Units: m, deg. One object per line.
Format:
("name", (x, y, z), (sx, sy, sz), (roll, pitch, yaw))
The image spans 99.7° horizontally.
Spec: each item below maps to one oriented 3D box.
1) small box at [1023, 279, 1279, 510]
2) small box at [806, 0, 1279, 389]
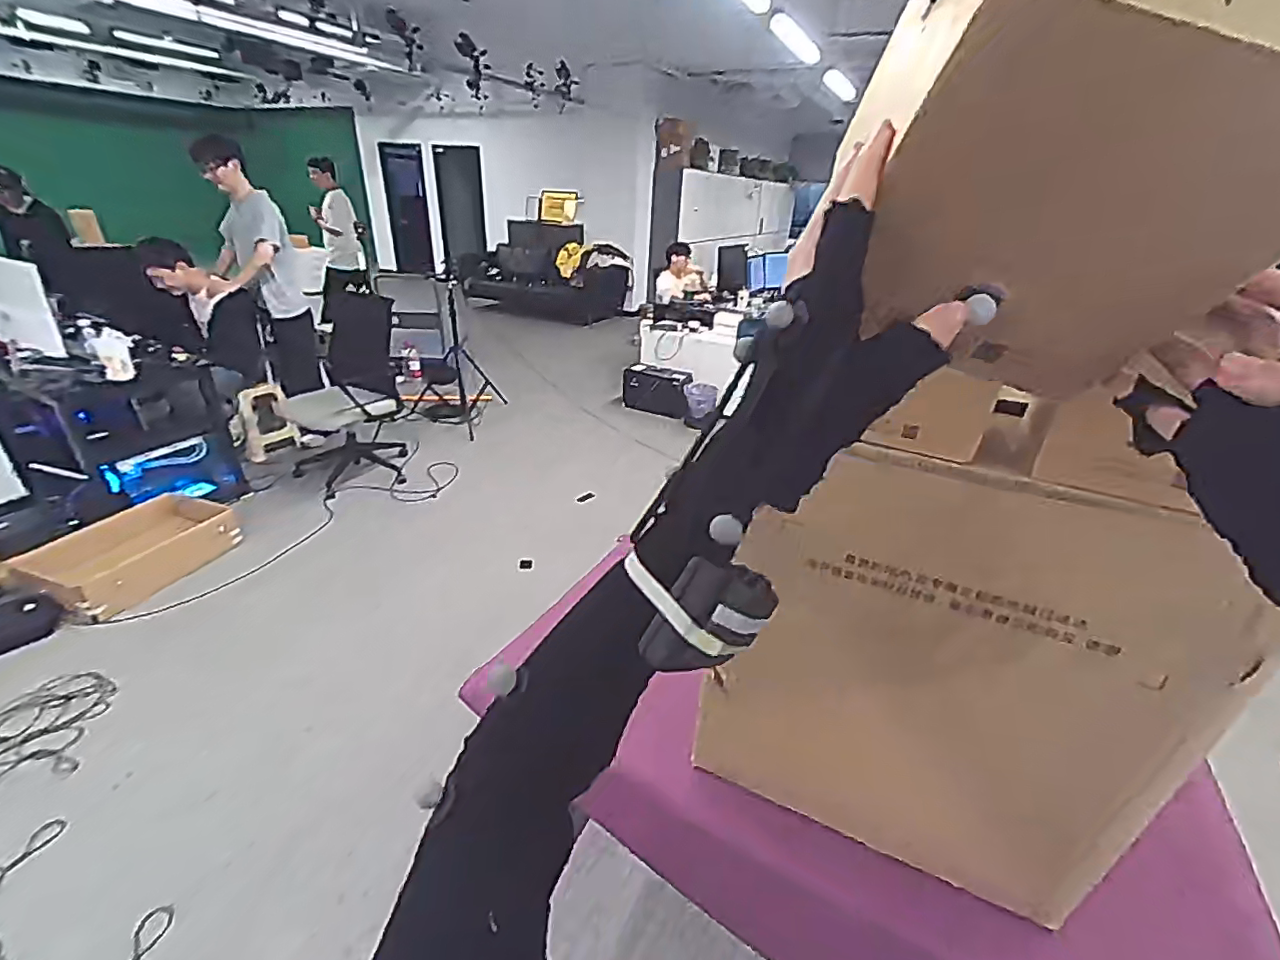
("small box", (0.480, -0.092, 0.498), (0.168, 0.176, 0.179), (18, 30, 25))
("small box", (0.203, -0.181, 0.279), (0.168, 0.176, 0.179), (19, 64, 1))
